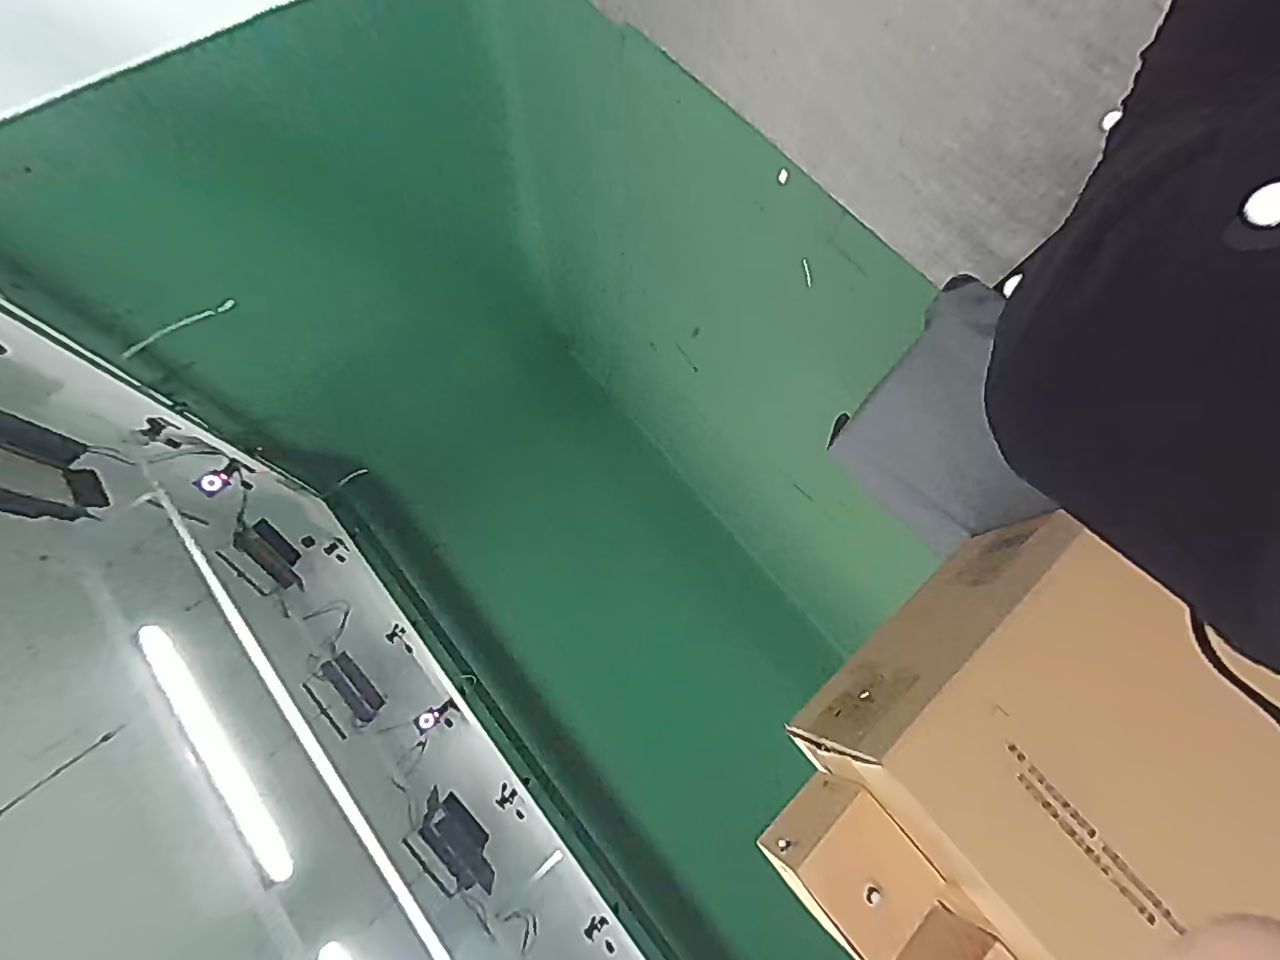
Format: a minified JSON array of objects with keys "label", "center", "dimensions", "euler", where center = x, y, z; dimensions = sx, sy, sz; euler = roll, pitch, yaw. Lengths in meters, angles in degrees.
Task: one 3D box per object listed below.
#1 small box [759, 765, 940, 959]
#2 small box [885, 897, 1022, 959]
[{"label":"small box","center":[0.331,0.600,0.868],"dimensions":[0.179,0.176,0.168],"euler":[48,161,10]},{"label":"small box","center":[0.500,0.786,0.816],"dimensions":[0.168,0.176,0.179],"euler":[50,163,13]}]
